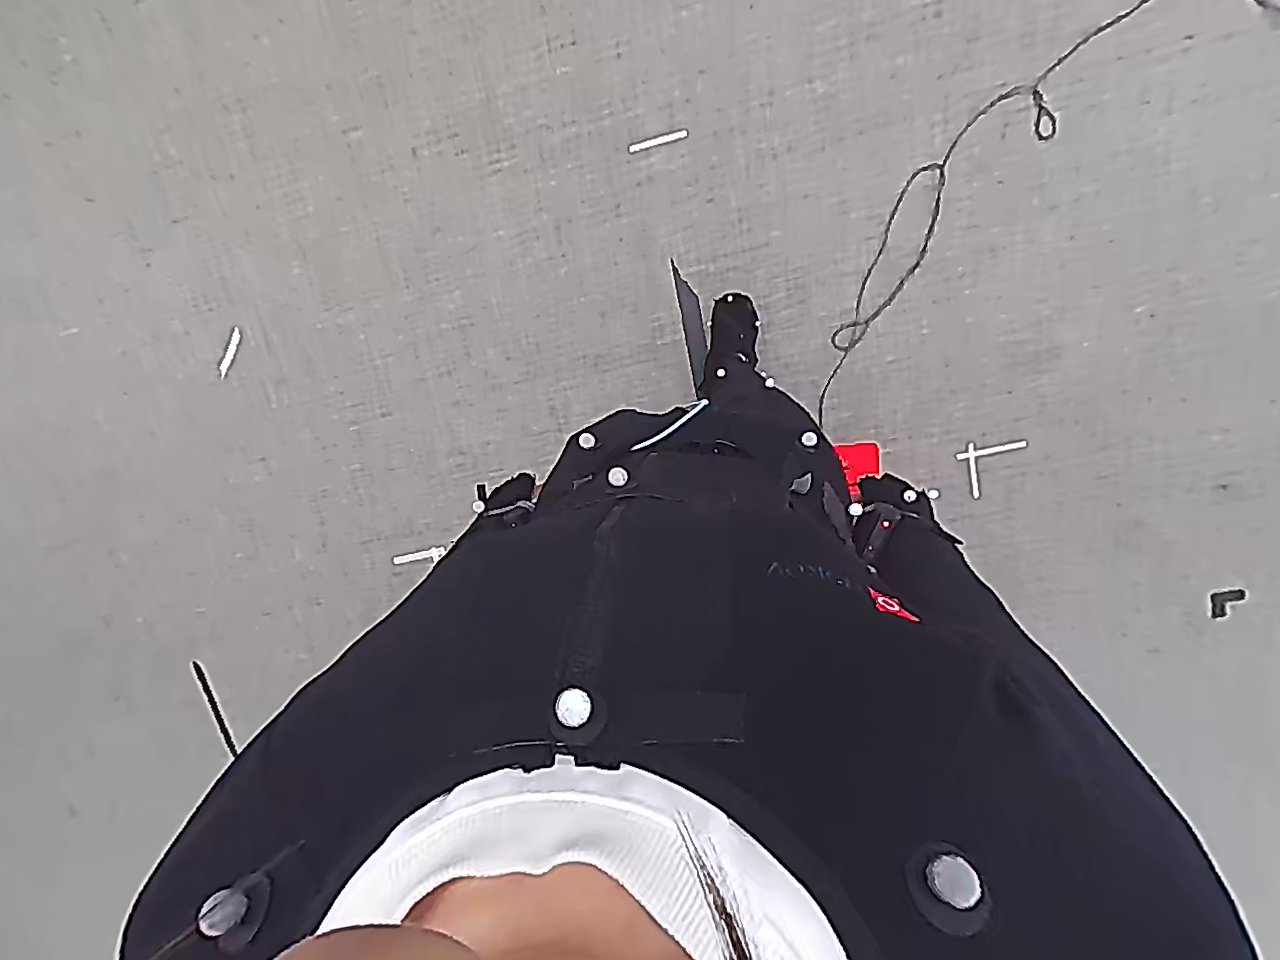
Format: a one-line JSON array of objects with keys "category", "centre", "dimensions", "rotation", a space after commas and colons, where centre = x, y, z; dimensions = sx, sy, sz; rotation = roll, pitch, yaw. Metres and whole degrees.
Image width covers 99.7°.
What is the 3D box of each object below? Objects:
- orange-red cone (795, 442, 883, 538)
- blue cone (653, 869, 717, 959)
[{"category": "orange-red cone", "centre": [0.469, 0.049, 1.191], "dimensions": [0.199, 0.360, 0.198], "rotation": [-6, 103, 9]}, {"category": "blue cone", "centre": [0.116, 1.353, 1.559], "dimensions": [0.192, 0.380, 0.193], "rotation": [-6, 102, 11]}]
